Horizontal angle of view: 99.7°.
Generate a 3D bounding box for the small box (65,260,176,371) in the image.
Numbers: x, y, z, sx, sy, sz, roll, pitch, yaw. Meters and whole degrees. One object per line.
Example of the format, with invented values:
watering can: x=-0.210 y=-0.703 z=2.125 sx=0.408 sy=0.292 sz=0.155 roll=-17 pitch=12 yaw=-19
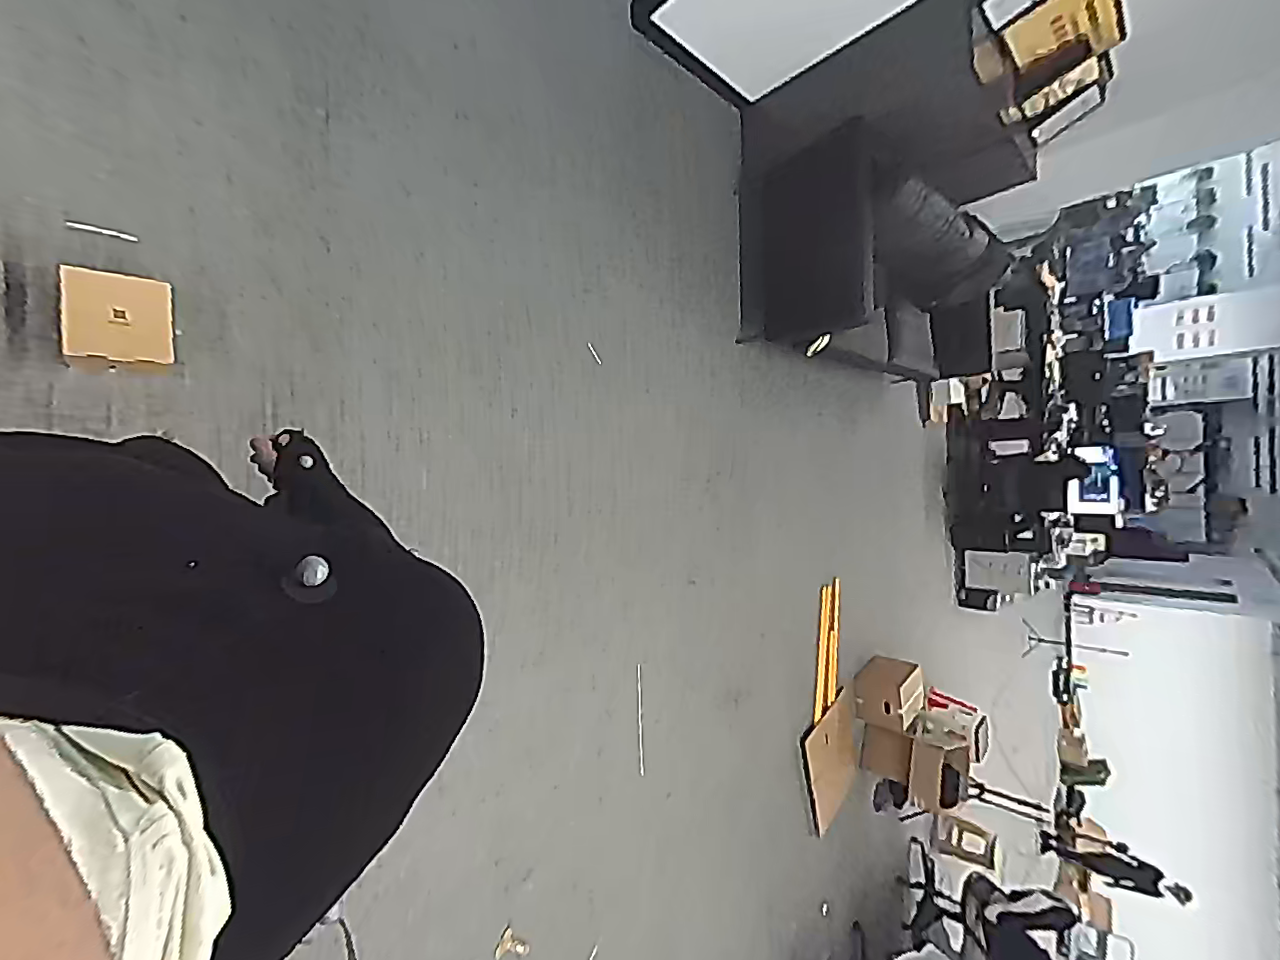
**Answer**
small box: x=-1.114 y=-0.342 z=1.162 sx=0.168 sy=0.176 sz=0.179 roll=-2 pitch=92 yaw=-44
